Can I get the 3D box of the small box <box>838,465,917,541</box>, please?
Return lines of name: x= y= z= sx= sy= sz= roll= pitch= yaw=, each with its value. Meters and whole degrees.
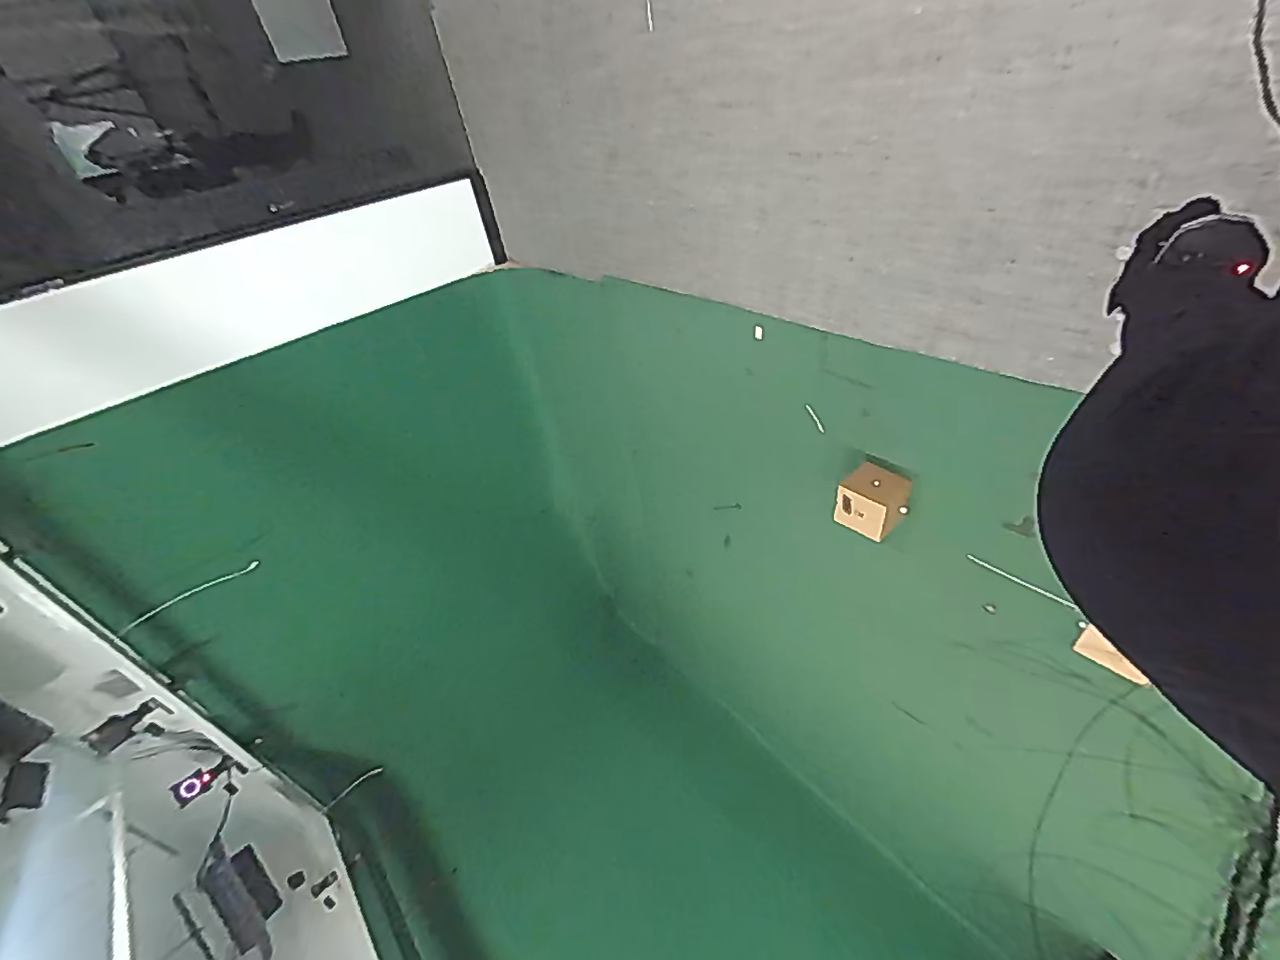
small box: x=0.810 y=0.072 z=1.852 sx=0.179 sy=0.176 sz=0.168 roll=32 pitch=145 yaw=39
